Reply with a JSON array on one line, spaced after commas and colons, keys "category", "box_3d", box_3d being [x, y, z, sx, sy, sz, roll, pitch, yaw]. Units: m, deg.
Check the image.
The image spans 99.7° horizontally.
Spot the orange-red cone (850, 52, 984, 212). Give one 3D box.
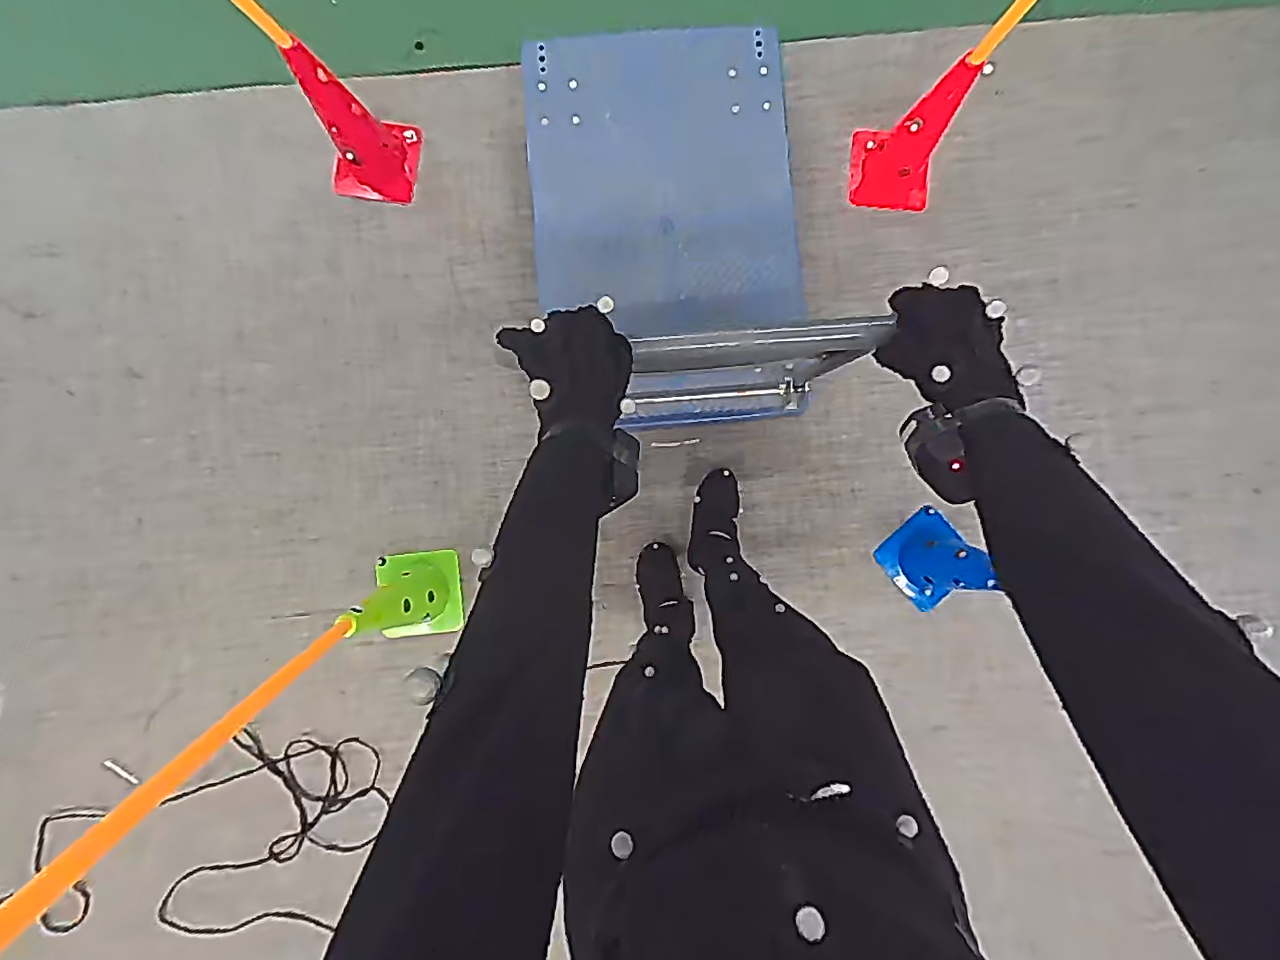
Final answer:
[{"category": "orange-red cone", "box_3d": [0.637, -0.787, 1.201, 0.198, 0.360, 0.199, 6, 89, 0]}]
